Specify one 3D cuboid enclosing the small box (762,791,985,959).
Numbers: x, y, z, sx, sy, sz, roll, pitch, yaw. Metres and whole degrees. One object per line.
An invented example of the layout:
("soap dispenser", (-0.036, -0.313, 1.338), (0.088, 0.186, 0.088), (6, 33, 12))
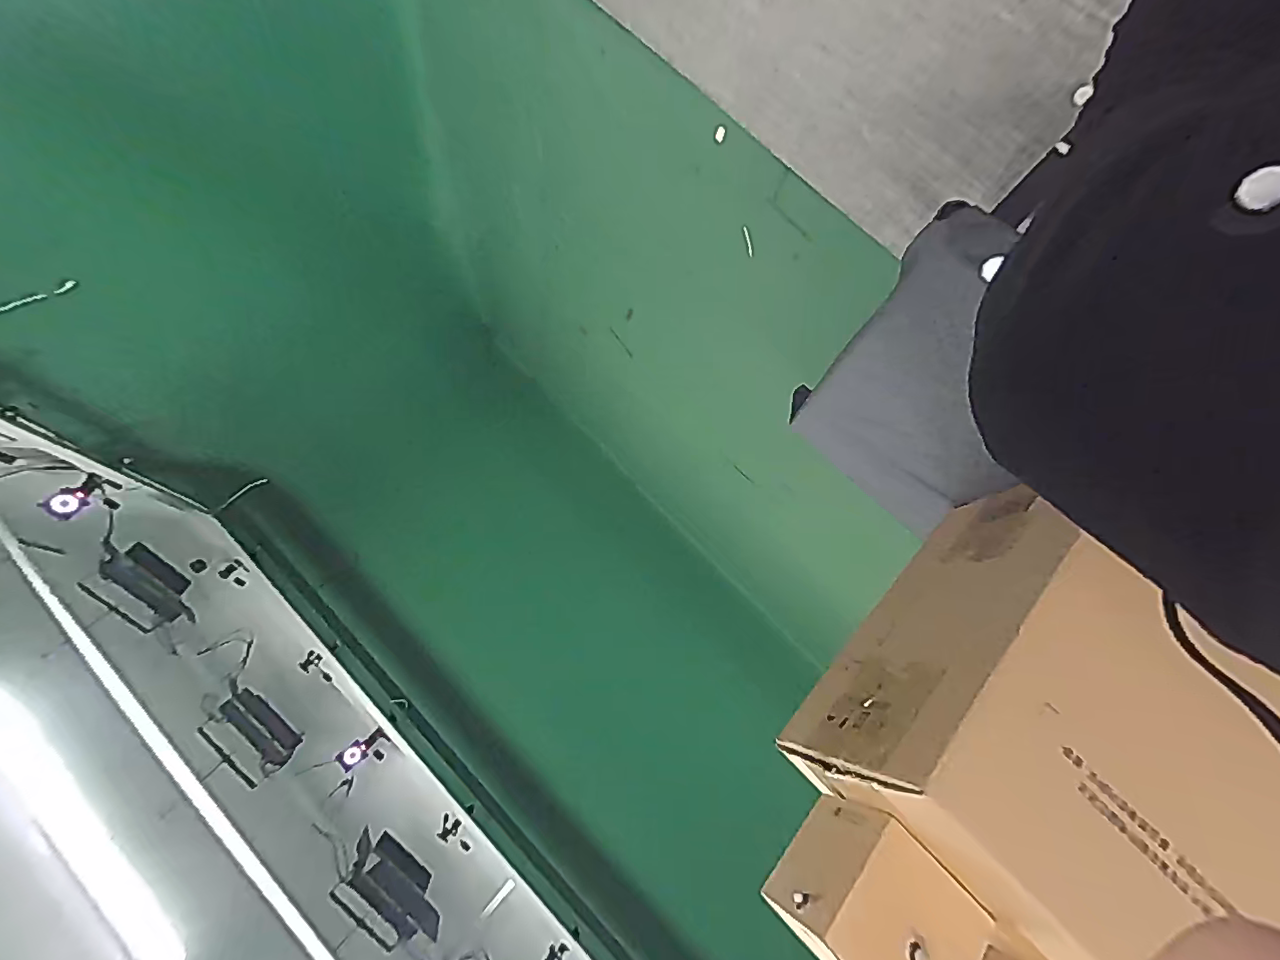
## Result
("small box", (0.302, 0.555, 0.709), (0.179, 0.176, 0.168), (44, 156, 6))
